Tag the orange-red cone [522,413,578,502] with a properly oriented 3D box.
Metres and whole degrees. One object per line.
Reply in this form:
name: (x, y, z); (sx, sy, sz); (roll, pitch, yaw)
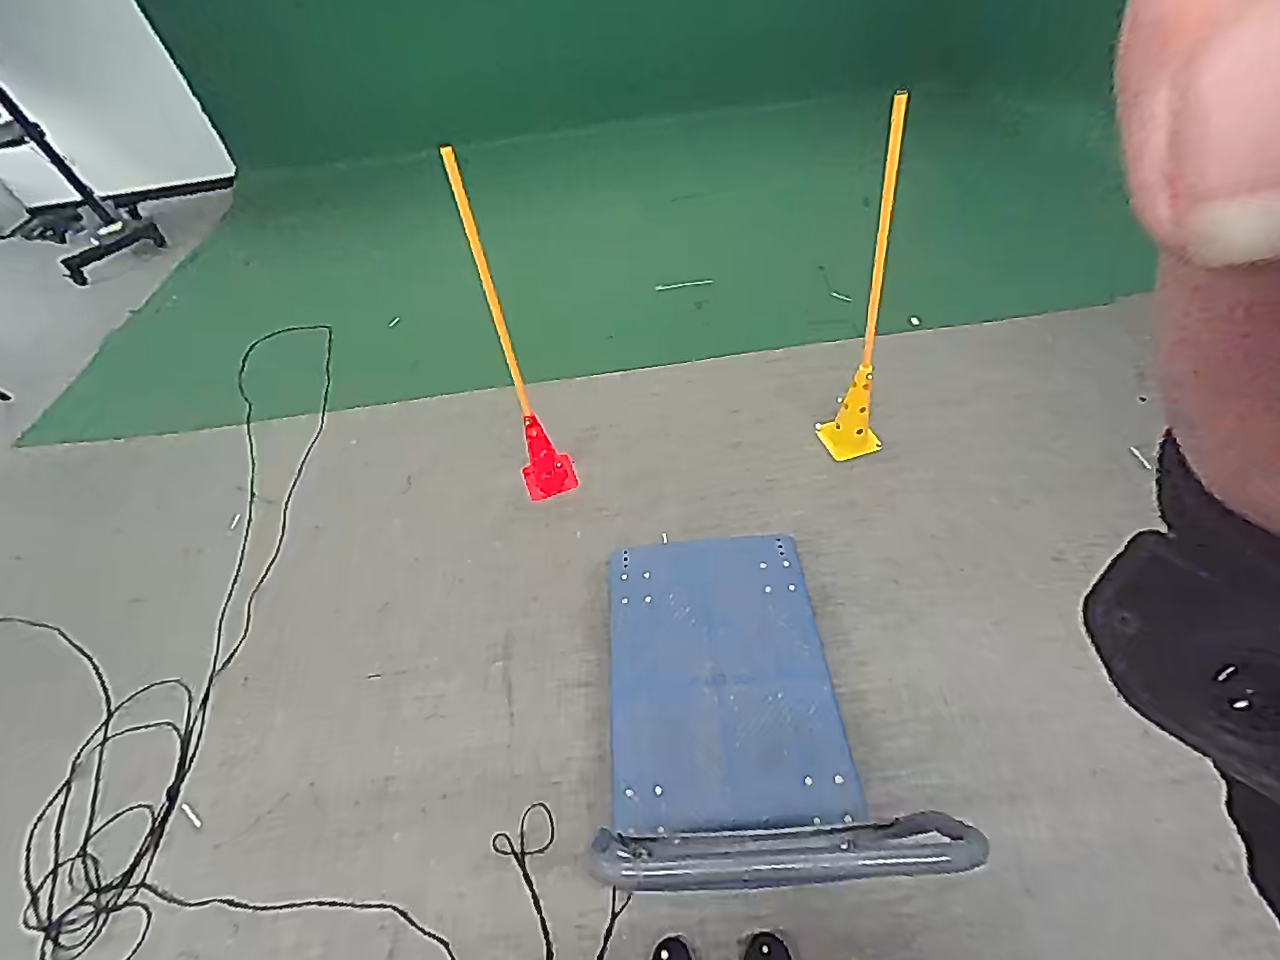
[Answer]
orange-red cone: (-0.376, -0.112, 2.025); (0.199, 0.360, 0.198); (-20, 50, -7)
